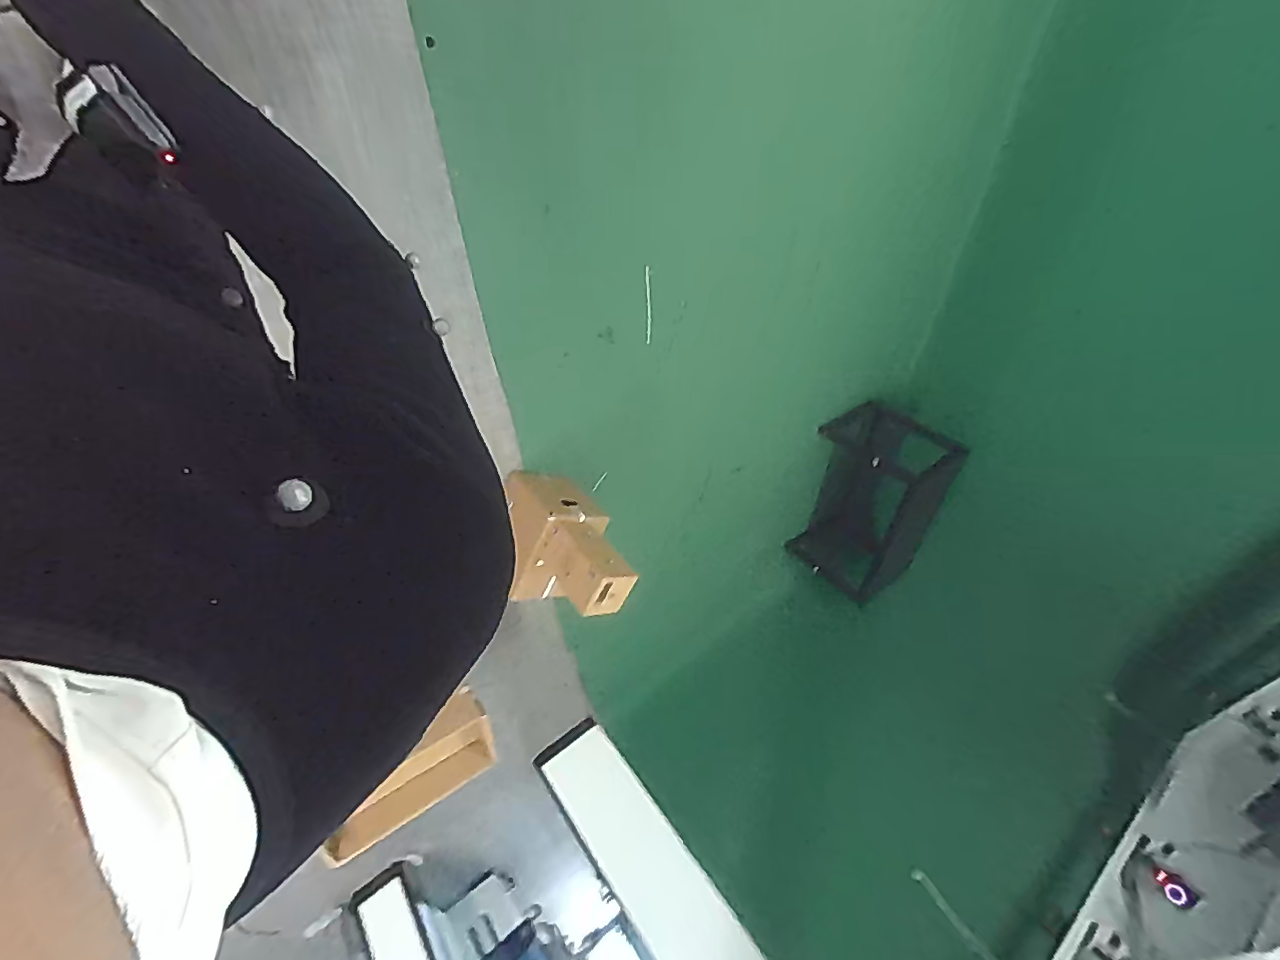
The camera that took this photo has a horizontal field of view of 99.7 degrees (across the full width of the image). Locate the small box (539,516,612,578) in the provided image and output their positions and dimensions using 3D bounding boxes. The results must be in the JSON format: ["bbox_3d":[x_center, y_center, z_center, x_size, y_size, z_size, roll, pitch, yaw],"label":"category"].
[{"bbox_3d":[-0.244,0.247,2.003,0.179,0.176,0.168,10,116,-50],"label":"small box"}]
